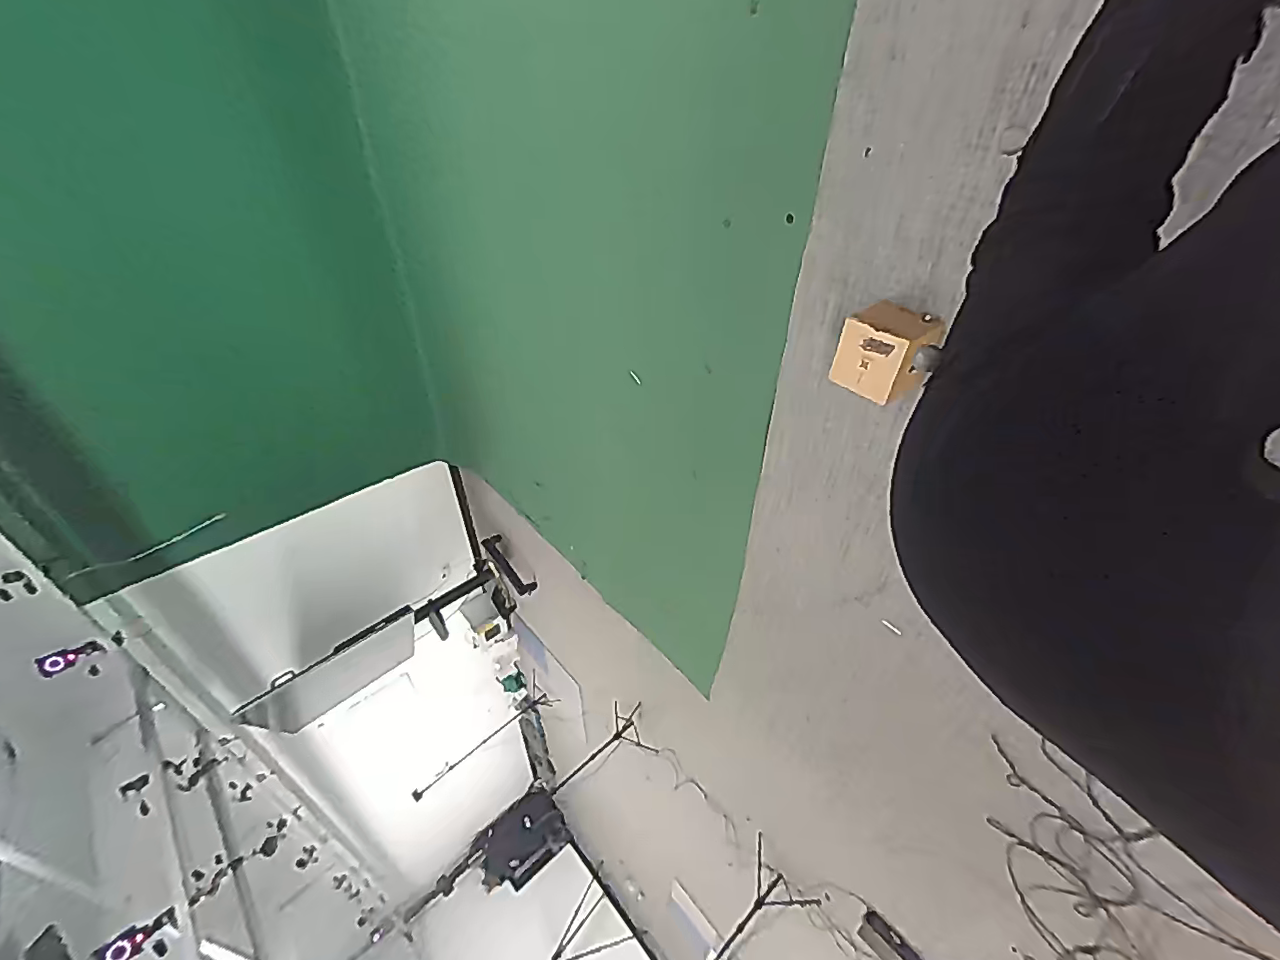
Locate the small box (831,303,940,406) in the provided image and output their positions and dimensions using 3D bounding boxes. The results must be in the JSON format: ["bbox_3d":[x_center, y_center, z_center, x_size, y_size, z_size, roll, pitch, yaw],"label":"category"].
[{"bbox_3d":[0.613,-0.320,1.347,0.168,0.176,0.179,38,143,33],"label":"small box"}]
